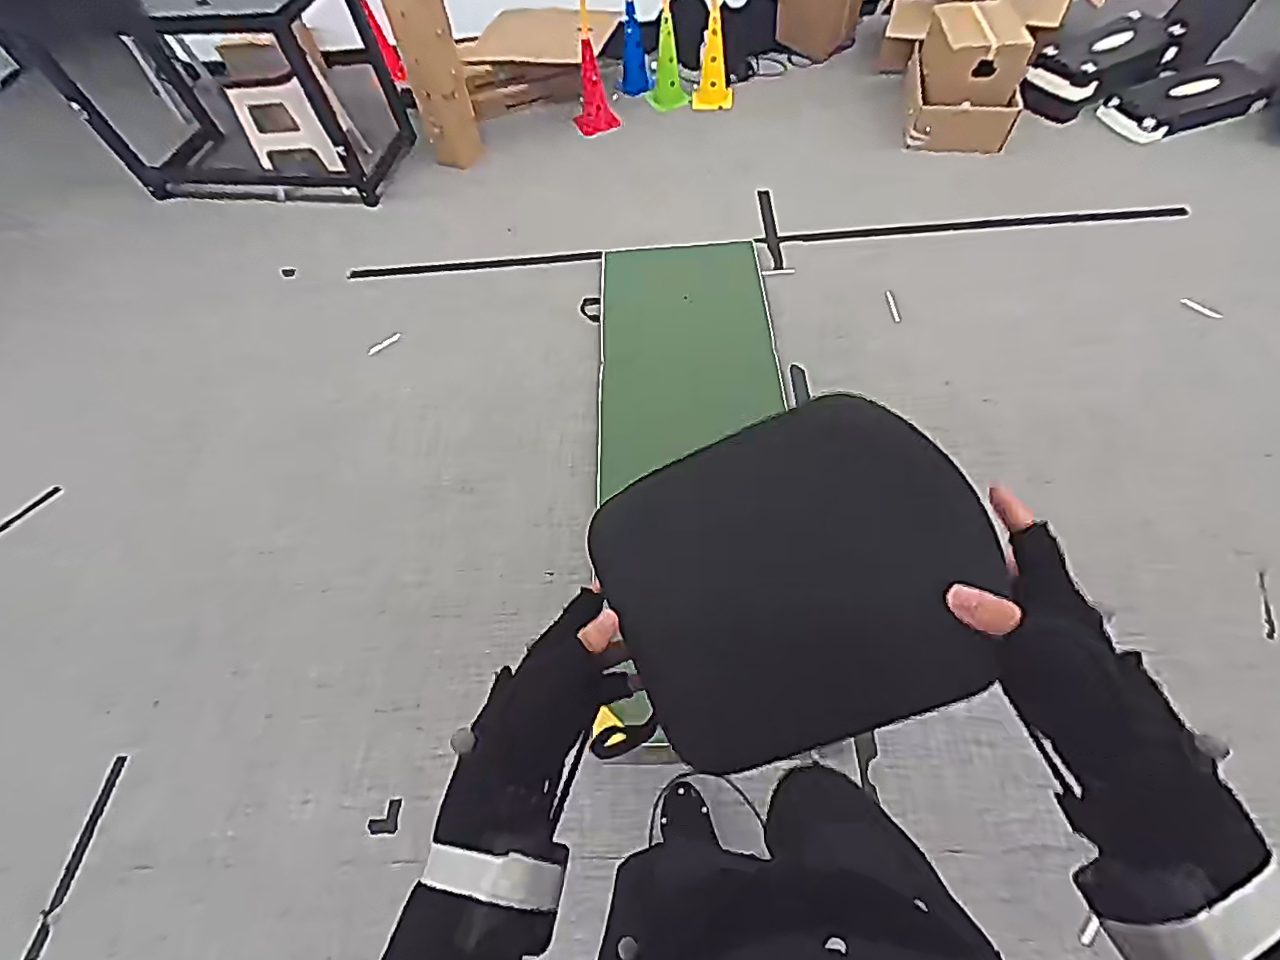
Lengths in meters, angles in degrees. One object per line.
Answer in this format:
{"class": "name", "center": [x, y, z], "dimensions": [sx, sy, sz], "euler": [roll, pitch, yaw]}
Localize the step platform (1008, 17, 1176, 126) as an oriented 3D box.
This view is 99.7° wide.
{"class": "step platform", "center": [2.084, -1.891, 2.496], "dimensions": [0.684, 0.204, 0.286], "euler": [-29, 62, -11]}
